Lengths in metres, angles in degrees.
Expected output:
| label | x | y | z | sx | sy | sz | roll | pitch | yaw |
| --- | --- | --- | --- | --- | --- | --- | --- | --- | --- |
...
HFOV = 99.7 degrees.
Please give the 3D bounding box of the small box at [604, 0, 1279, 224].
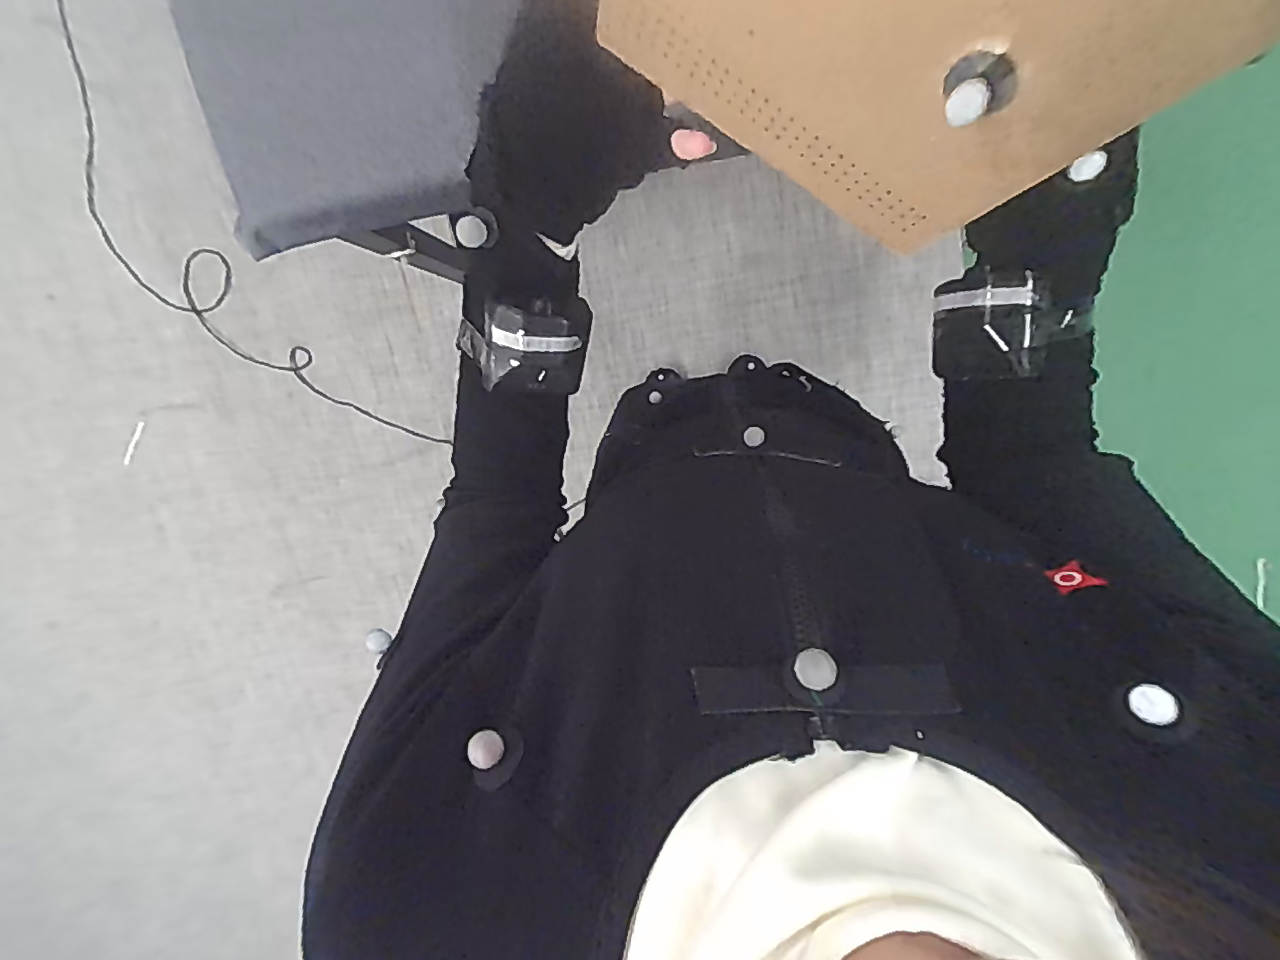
| label | x | y | z | sx | sy | sz | roll | pitch | yaw |
| --- | --- | --- | --- | --- | --- | --- | --- | --- | --- |
| small box | 0.104 | -0.222 | 0.184 | 0.179 | 0.176 | 0.168 | 28 | 85 | -8 |
